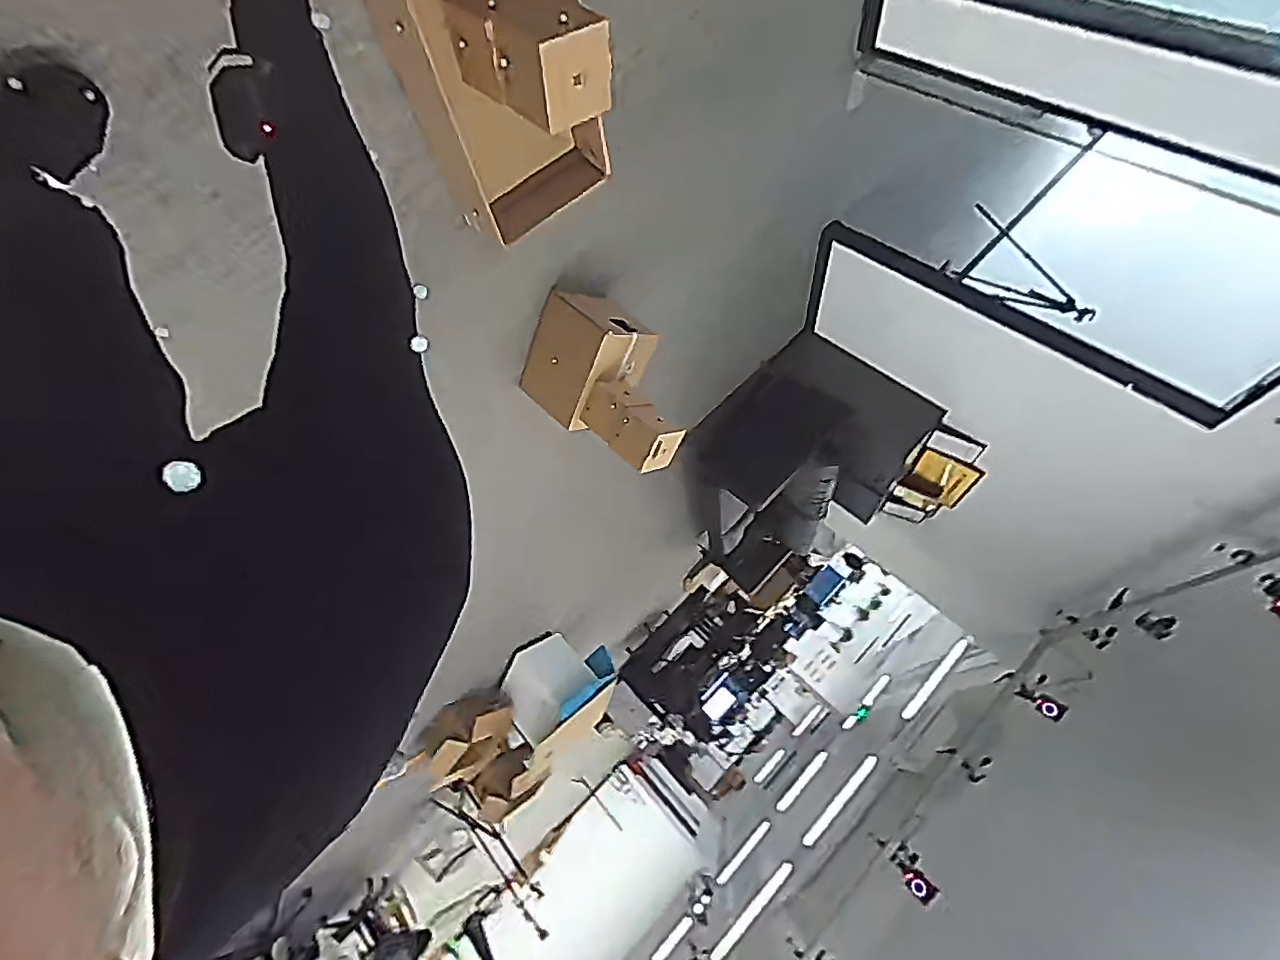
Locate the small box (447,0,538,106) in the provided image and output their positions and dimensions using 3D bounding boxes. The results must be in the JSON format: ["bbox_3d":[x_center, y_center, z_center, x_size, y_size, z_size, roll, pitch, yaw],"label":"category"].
[{"bbox_3d":[-0.291,-0.981,1.196,0.179,0.176,0.168,-40,158,-17],"label":"small box"}]

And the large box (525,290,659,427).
[{"bbox_3d":[-0.194,-0.466,2.076,0.320,0.320,0.408,-18,141,-50],"label":"large box"}]

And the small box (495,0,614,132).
[{"bbox_3d":[-0.174,-0.881,1.139,0.179,0.176,0.168,-38,156,-20],"label":"small box"}]

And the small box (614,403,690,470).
[{"bbox_3d":[0.038,-0.158,1.916,0.179,0.176,0.168,-16,140,-51],"label":"small box"}]
